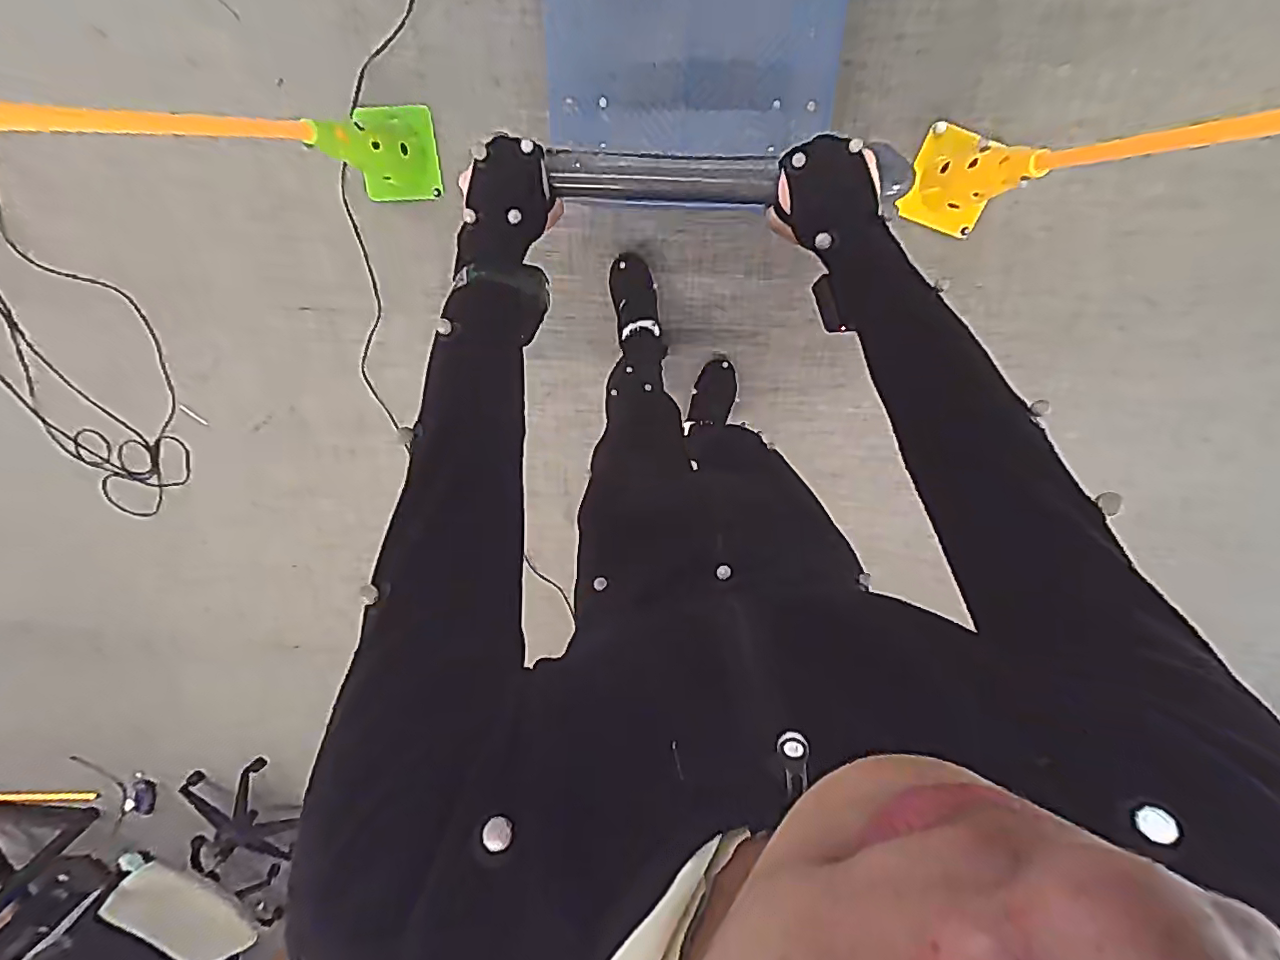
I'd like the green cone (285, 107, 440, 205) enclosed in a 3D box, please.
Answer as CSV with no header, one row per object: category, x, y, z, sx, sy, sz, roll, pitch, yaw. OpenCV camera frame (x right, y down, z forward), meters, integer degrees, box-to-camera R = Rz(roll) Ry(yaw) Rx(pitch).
green cone,-0.617,-0.719,1.165,0.202,0.368,0.200,0,114,7
